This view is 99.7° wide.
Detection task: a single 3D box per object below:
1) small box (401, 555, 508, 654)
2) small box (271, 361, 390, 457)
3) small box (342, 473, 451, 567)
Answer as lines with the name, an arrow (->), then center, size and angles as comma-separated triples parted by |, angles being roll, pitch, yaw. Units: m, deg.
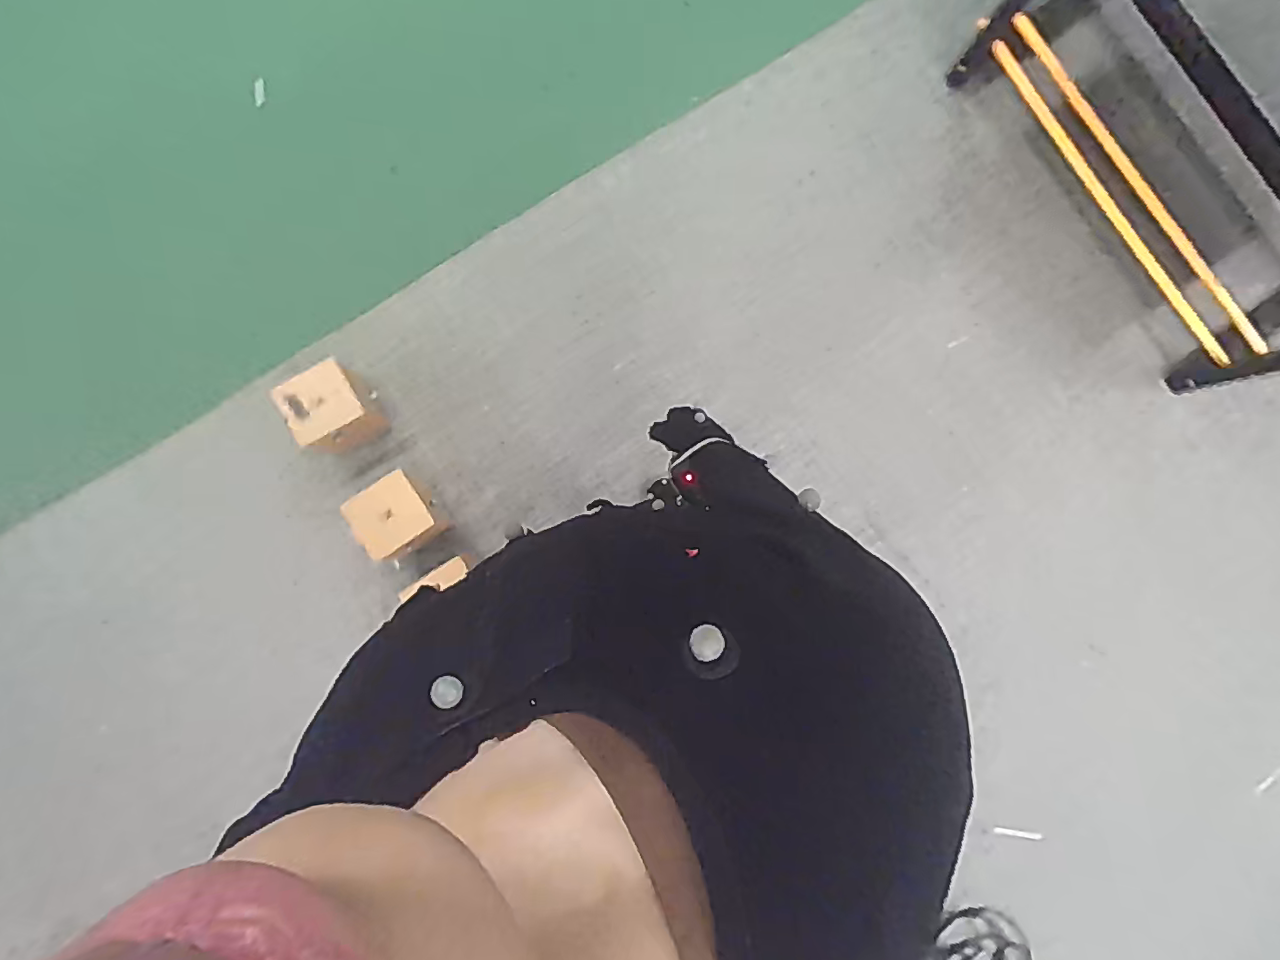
small box -> -0.460, 0.307, 1.369 | 0.179, 0.176, 0.168 | -34, 89, -5
small box -> -0.787, -0.174, 1.394 | 0.179, 0.176, 0.168 | -31, 88, -6
small box -> -0.608, 0.098, 1.383 | 0.179, 0.176, 0.168 | -35, 89, -4
